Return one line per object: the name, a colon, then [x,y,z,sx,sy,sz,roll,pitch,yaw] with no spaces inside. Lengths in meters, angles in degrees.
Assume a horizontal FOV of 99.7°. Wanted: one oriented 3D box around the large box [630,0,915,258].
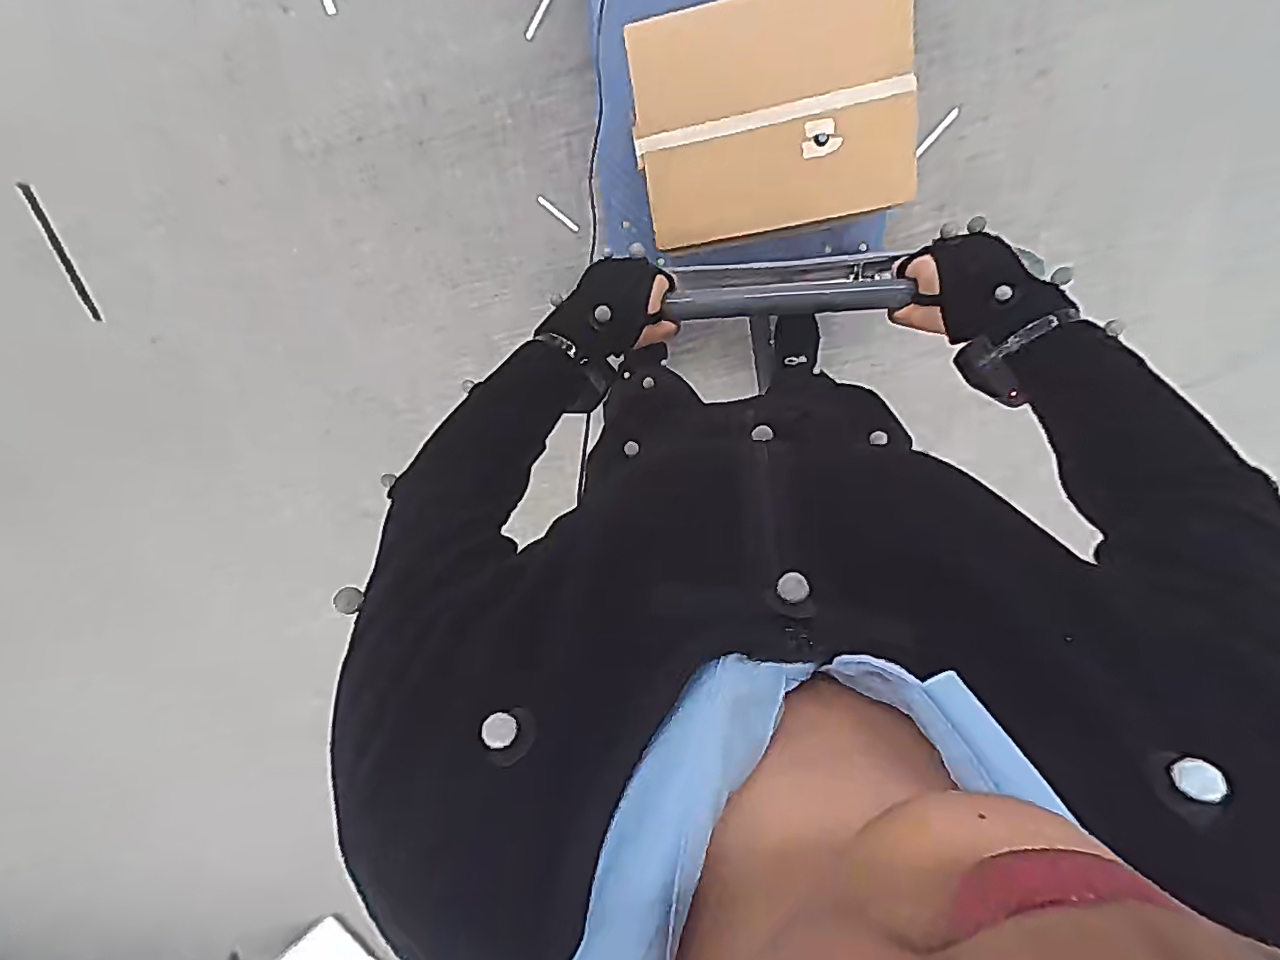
large box: [0.218,-0.605,0.963,0.408,0.320,0.320,-9,110,8]
